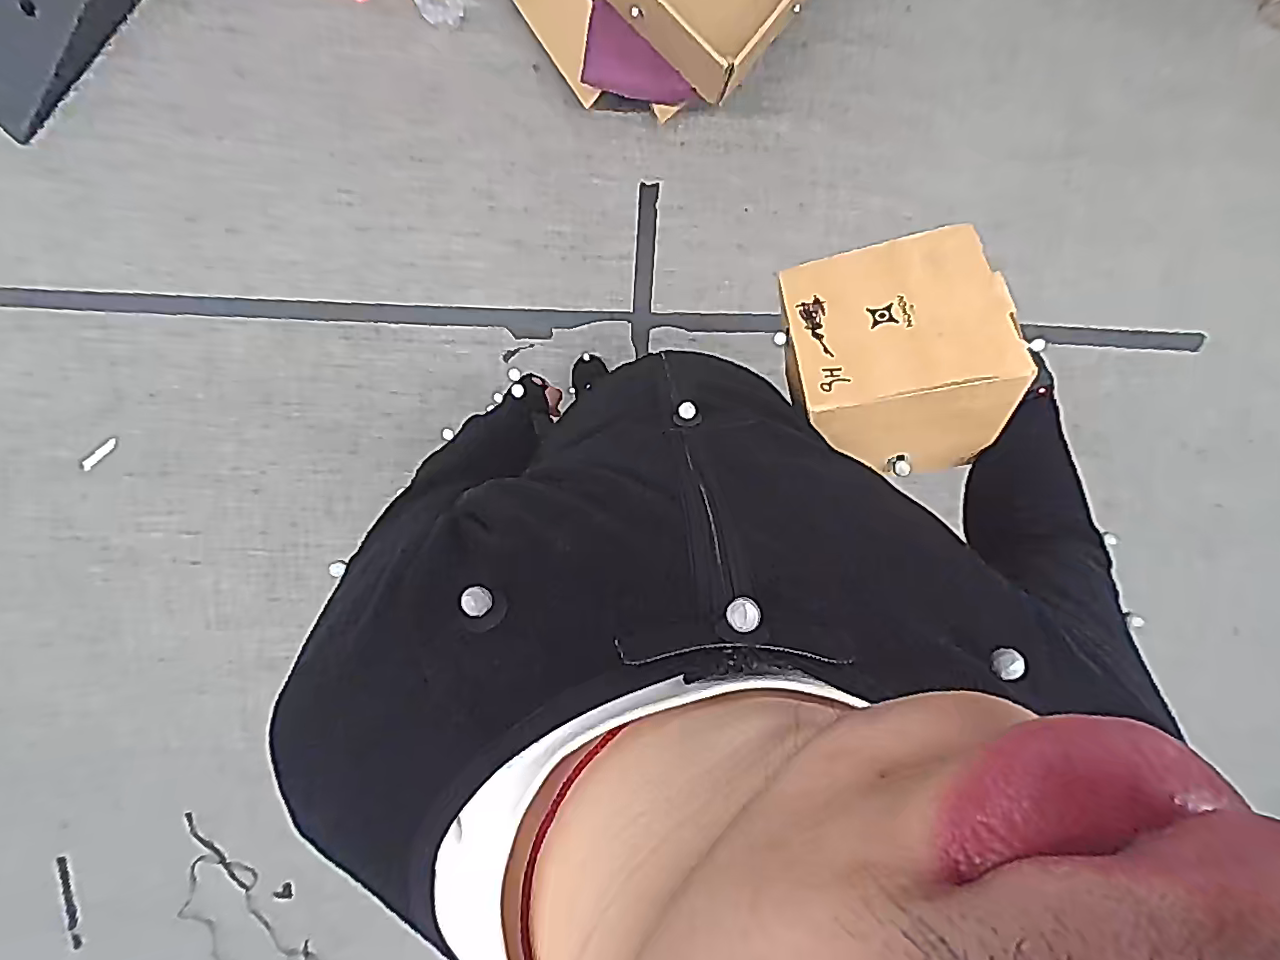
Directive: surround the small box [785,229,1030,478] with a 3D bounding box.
[{"bbox_3d":[0.251,-0.116,0.558,0.179,0.176,0.168,-9,63,14],"label":"small box"}]
